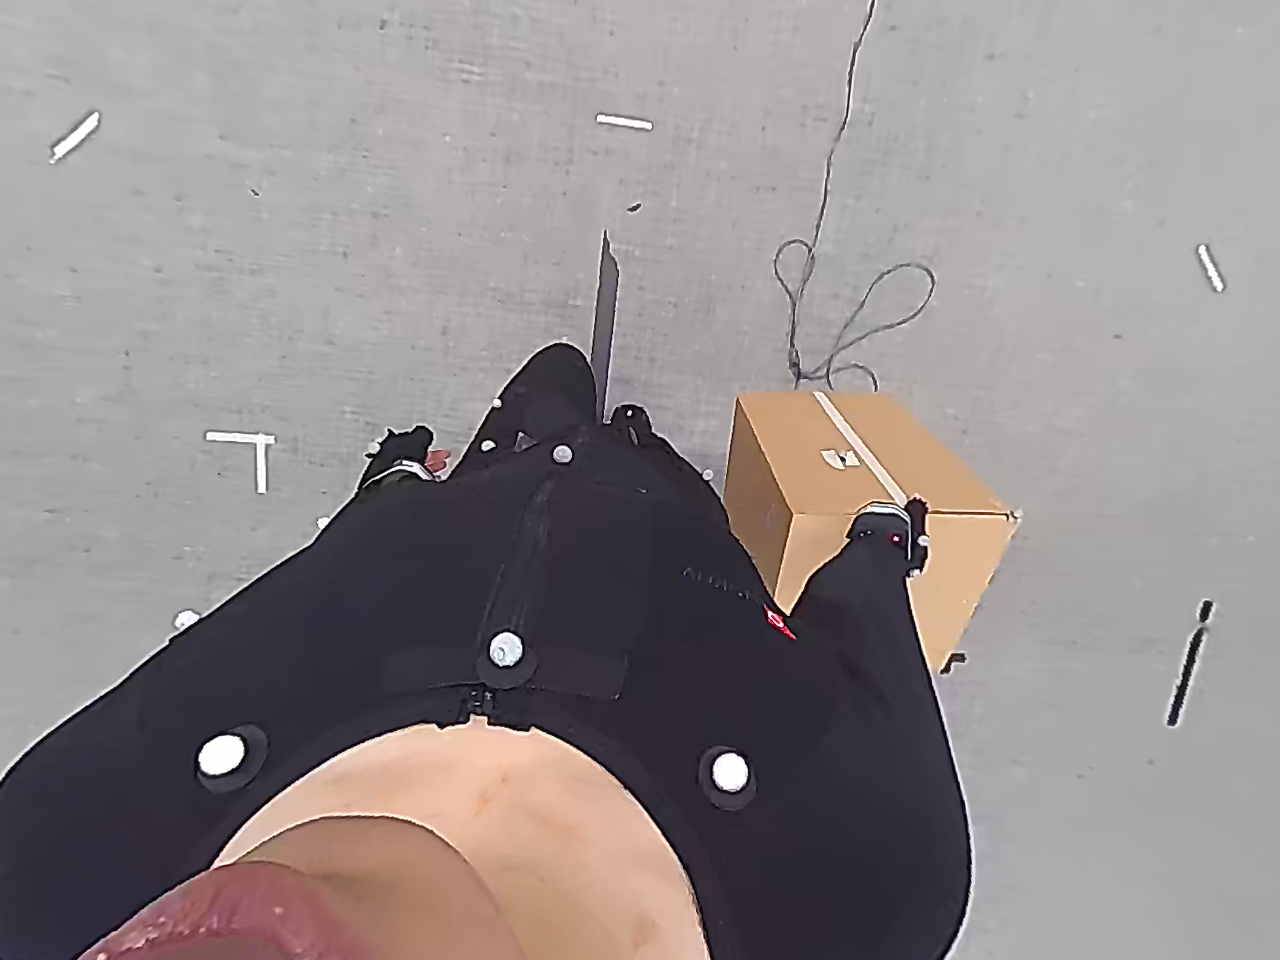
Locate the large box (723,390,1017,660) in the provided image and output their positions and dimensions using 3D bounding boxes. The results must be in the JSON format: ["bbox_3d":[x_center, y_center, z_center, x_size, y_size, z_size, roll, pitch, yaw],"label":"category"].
[{"bbox_3d":[0.352,0.063,0.978,0.320,0.408,0.320,-1,124,-3],"label":"large box"}]
